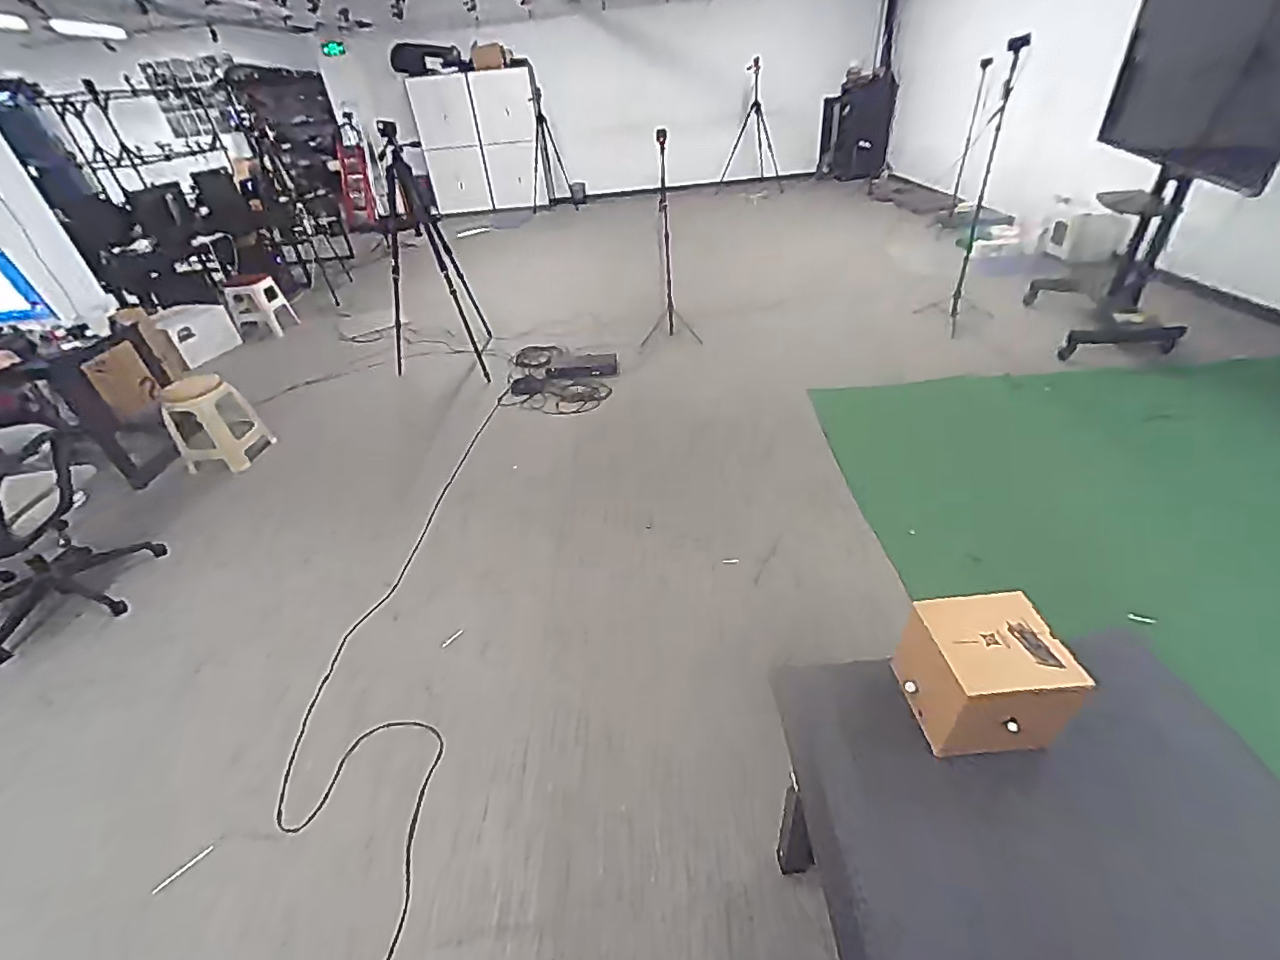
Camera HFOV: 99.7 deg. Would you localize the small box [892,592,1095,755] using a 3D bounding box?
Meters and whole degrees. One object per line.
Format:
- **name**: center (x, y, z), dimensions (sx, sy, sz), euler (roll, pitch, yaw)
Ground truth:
- **small box**: center (0.513, 0.292, 0.817), dimensions (0.179, 0.176, 0.168), euler (-5, 36, 0)
